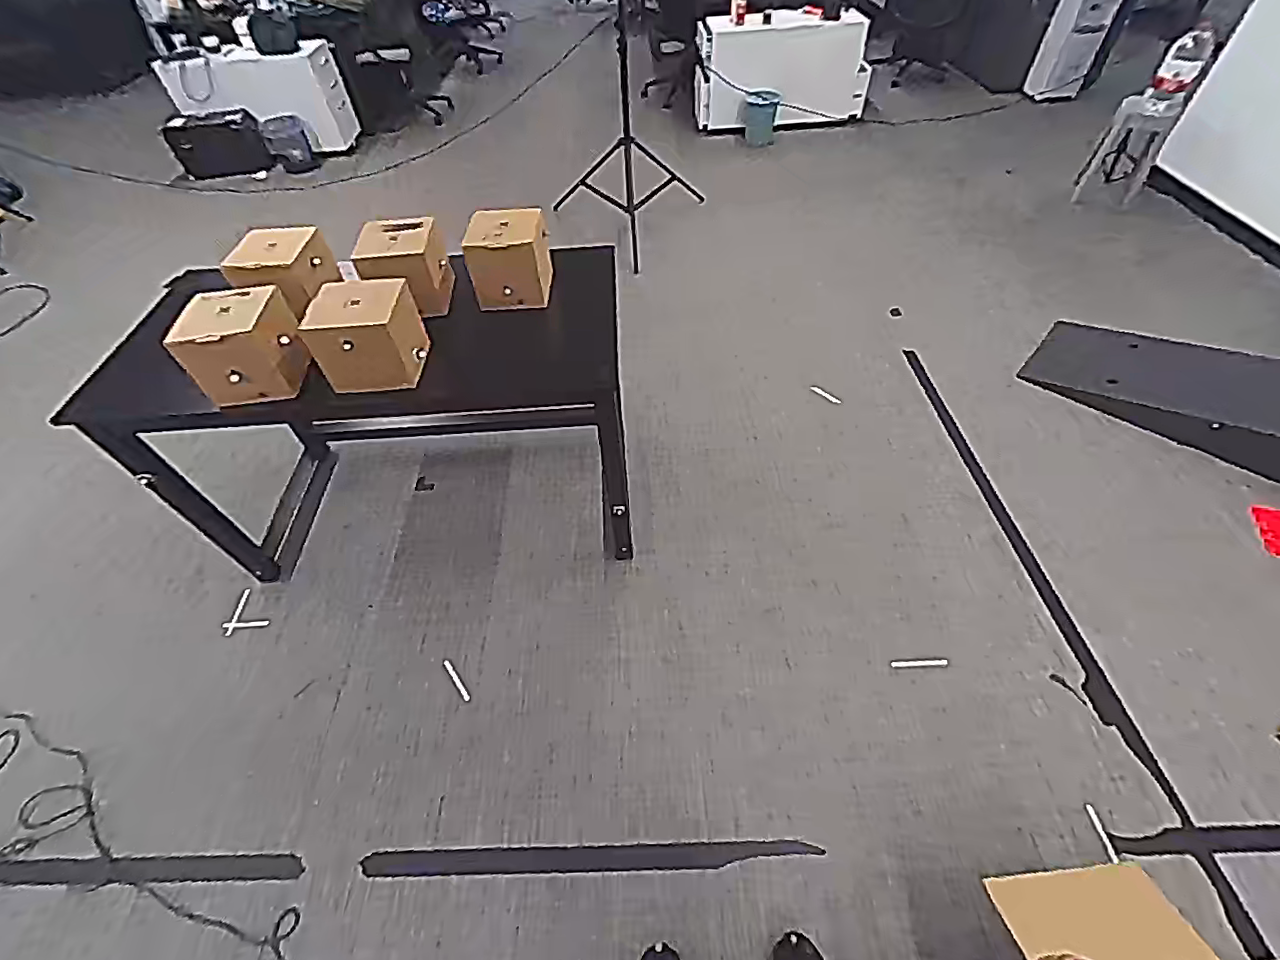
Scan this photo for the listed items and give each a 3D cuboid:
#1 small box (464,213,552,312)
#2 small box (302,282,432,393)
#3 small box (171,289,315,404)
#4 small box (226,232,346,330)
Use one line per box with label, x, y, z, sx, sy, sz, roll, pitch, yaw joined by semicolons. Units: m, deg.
small box;-0.317;-0.537;1.339;0.168;0.176;0.179;-2;50;2
small box;-0.573;-0.301;1.160;0.179;0.176;0.168;-4;51;-1
small box;-0.829;-0.278;1.154;0.168;0.176;0.179;-8;51;-4
small box;-0.851;-0.485;1.328;0.168;0.176;0.179;-3;51;1
